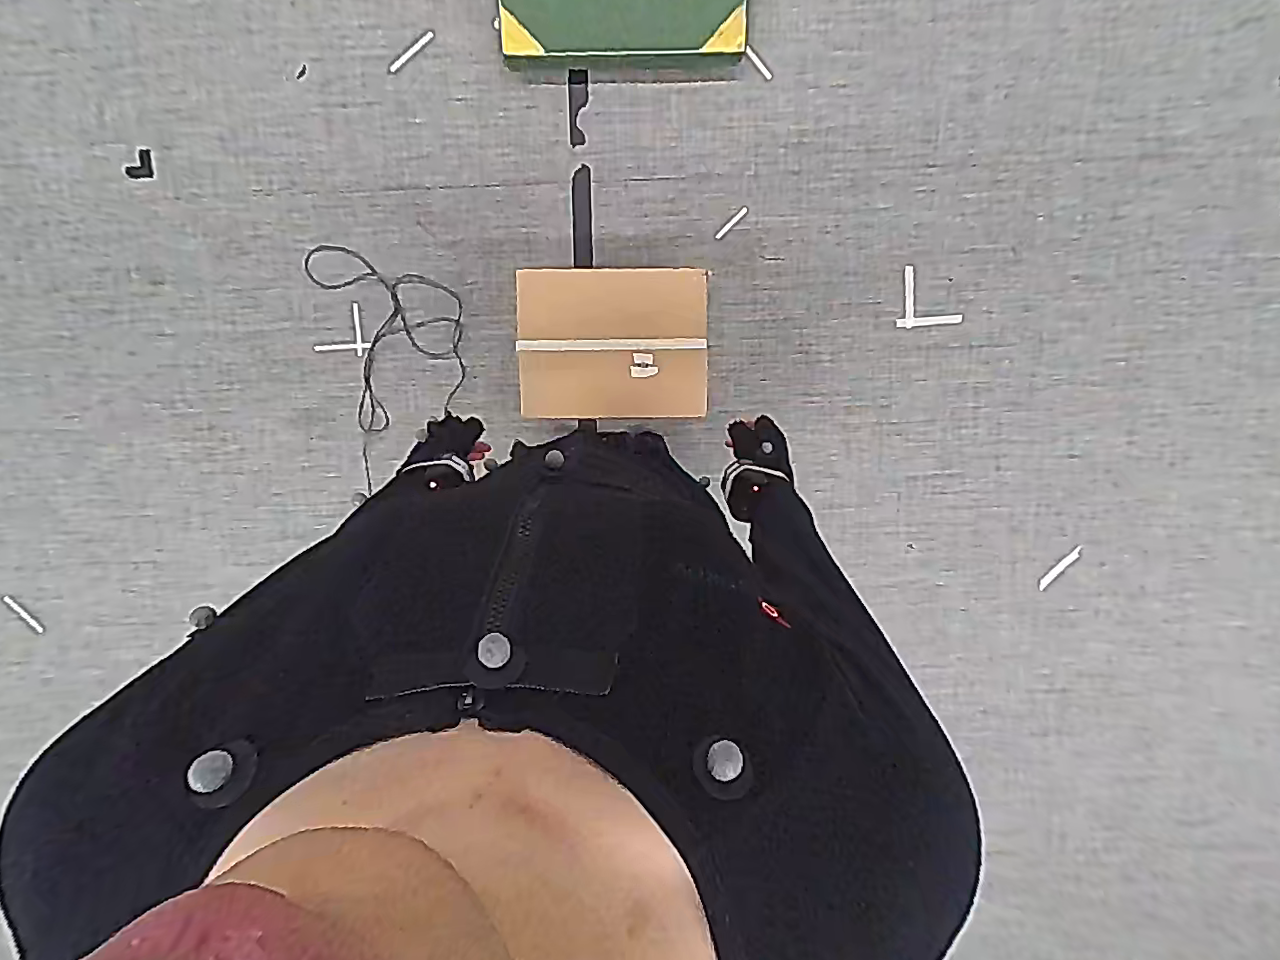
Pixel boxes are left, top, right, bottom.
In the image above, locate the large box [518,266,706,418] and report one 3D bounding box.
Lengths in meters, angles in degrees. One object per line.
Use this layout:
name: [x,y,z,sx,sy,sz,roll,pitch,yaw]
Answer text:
large box: [-0.061,-0.314,1.311,0.408,0.320,0.320,-1,97,-1]
